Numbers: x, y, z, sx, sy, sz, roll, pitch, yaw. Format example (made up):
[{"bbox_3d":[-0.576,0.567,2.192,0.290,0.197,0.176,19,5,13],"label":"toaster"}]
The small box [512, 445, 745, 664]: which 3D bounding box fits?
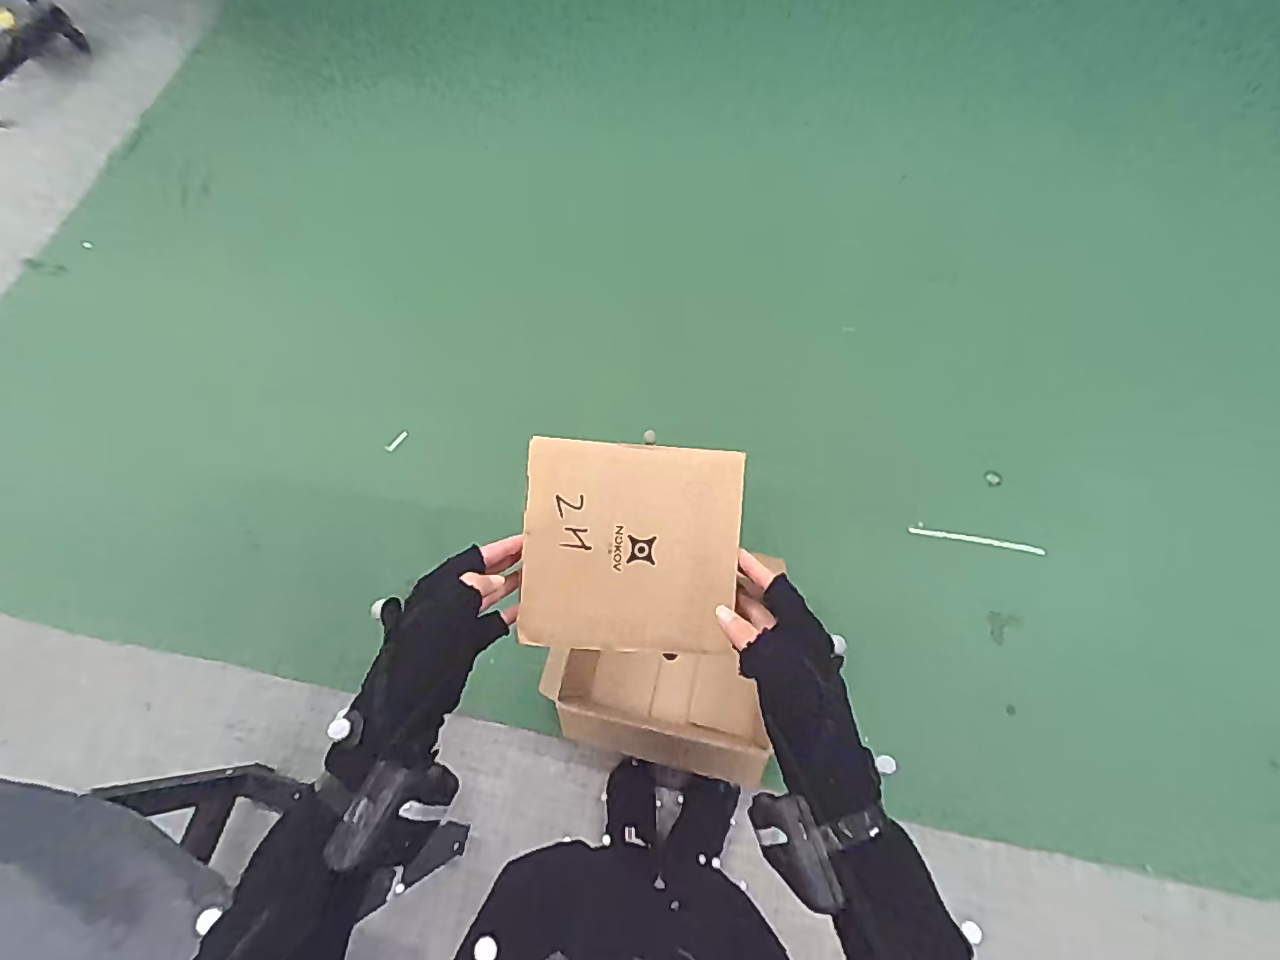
[{"bbox_3d":[-0.011,0.061,0.508,0.179,0.176,0.168,4,88,-1],"label":"small box"}]
